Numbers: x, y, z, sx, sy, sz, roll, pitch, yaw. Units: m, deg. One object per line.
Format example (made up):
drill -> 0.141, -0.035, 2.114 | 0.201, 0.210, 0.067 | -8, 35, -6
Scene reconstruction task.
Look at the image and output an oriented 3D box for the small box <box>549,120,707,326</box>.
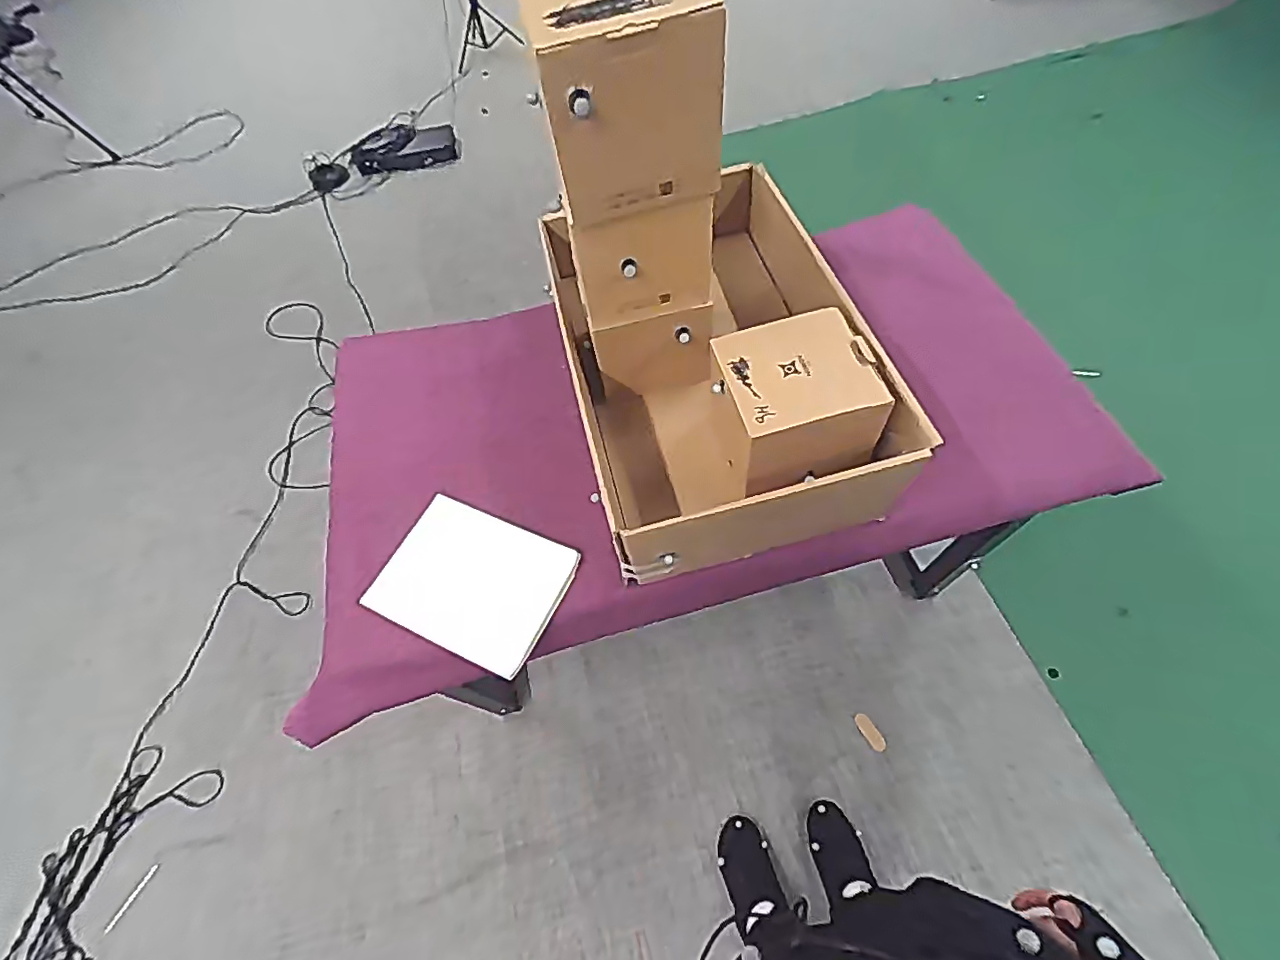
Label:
small box -> -0.010, -0.325, 0.710 | 0.168, 0.176, 0.179 | -13, 61, -1
